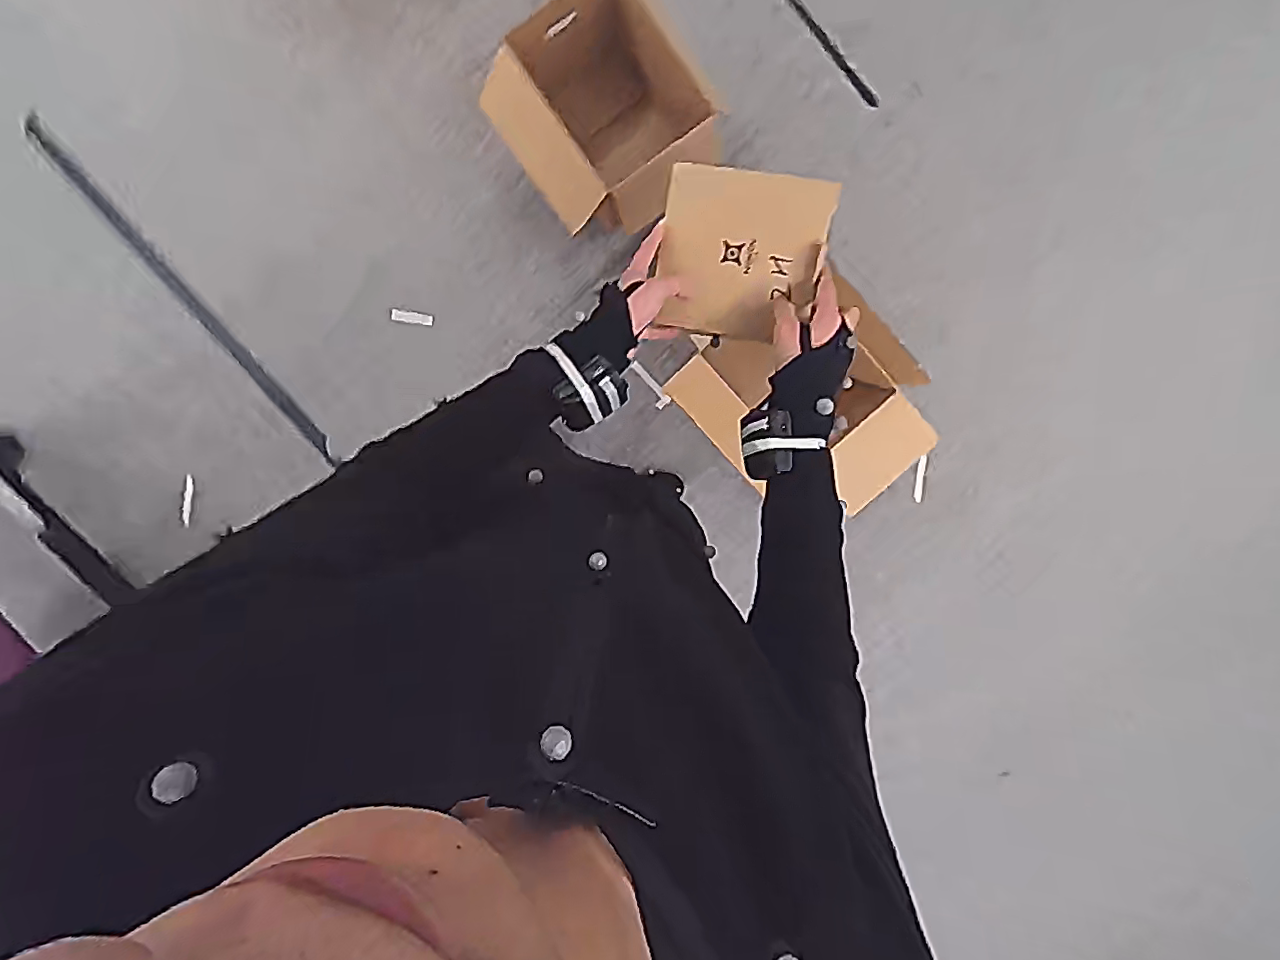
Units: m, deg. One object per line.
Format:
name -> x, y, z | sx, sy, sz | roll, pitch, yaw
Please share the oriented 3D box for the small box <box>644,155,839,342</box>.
small box -> 0.116, -0.261, 0.646 | 0.179, 0.176, 0.168 | 12, 105, 7
